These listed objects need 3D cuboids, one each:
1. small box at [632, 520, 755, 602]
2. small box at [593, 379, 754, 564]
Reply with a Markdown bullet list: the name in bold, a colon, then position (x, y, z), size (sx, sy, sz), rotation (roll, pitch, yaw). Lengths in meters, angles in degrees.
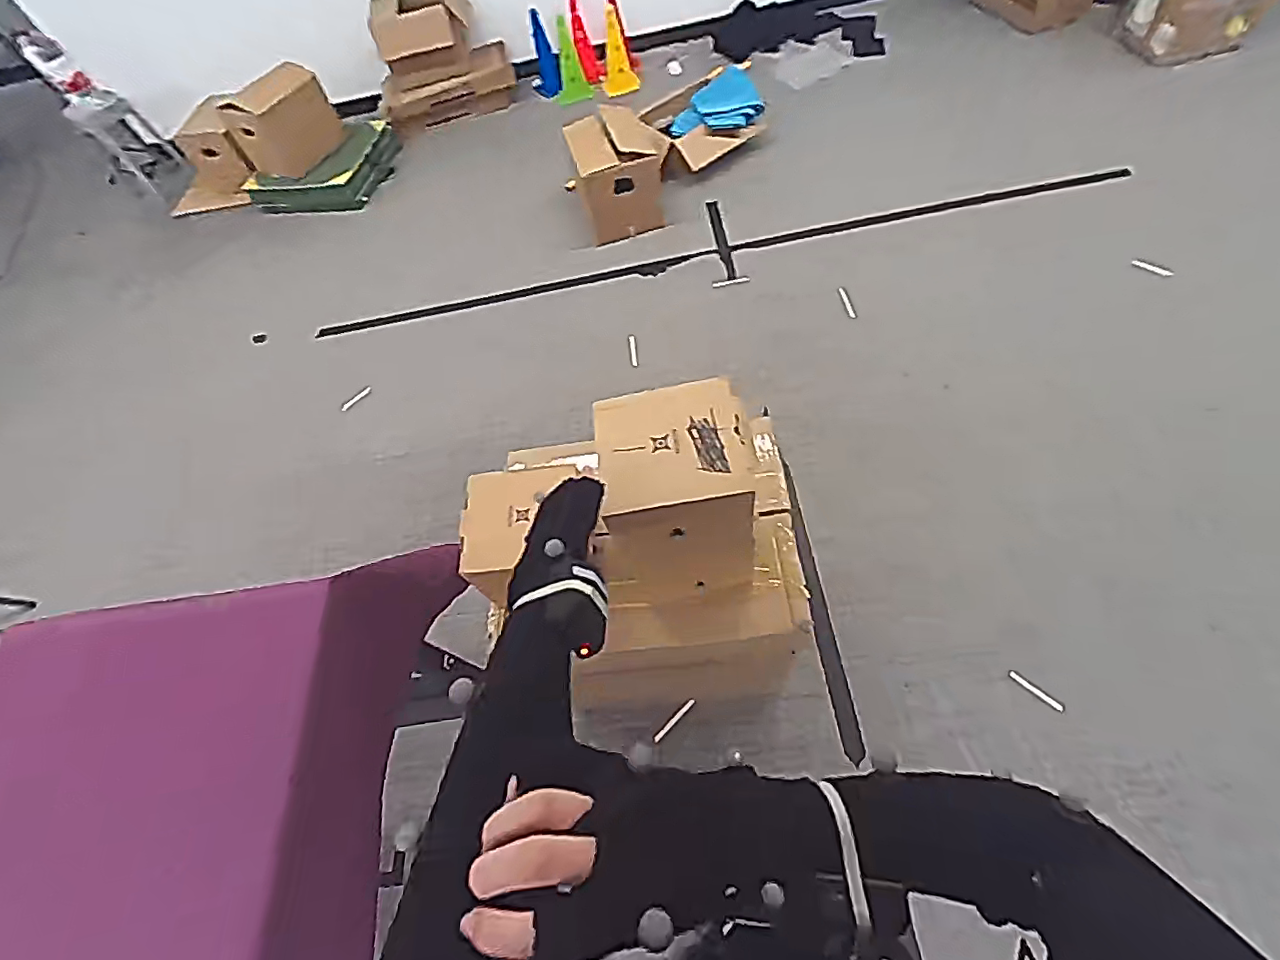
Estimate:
- **small box**: position (0.070, 0.076, 0.851), size (0.179, 0.176, 0.168), rotation (-14, 59, 2)
- **small box**: position (0.045, -0.003, 0.708), size (0.179, 0.176, 0.168), rotation (-10, 59, 5)
